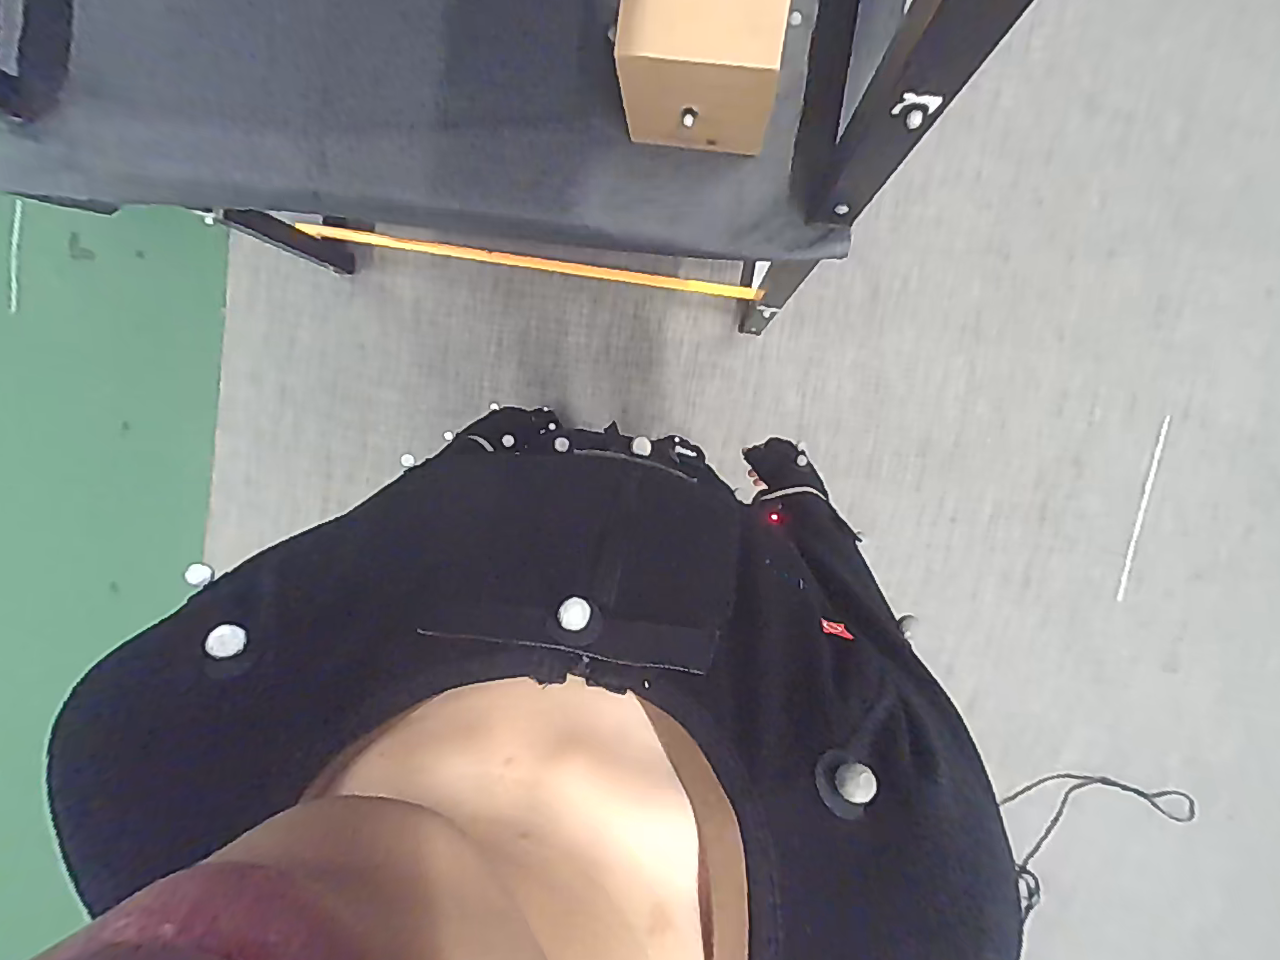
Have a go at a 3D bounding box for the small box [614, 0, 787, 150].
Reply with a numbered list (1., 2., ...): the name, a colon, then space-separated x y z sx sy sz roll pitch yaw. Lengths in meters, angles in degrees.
1. small box: 0.074 -0.504 0.604 0.168 0.176 0.179 9 96 3
